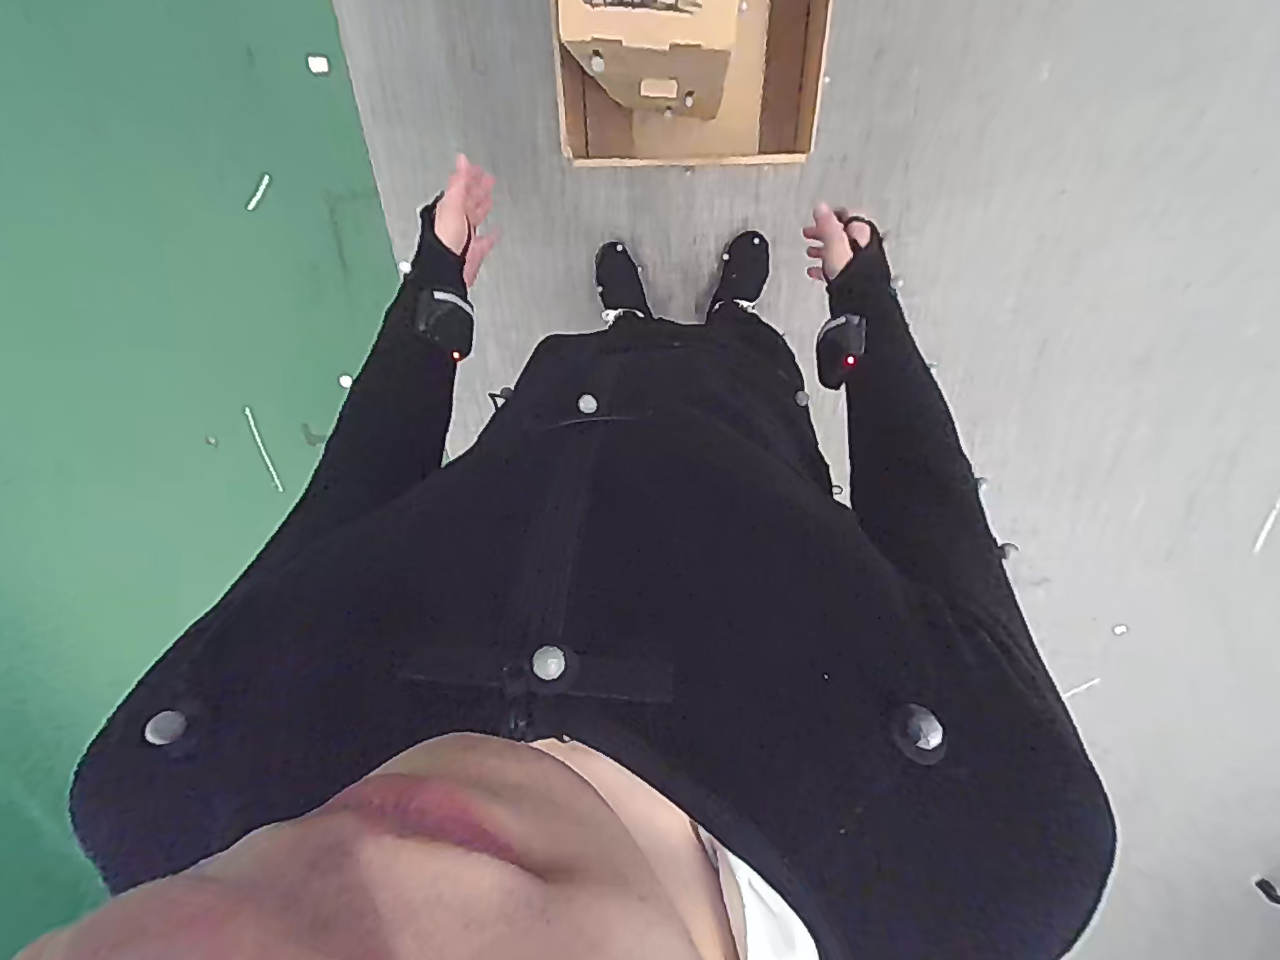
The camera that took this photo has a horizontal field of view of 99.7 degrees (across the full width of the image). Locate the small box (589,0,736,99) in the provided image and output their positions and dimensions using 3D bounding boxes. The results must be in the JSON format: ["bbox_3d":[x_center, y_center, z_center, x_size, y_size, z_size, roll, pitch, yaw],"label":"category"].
[{"bbox_3d":[0.035,-0.595,0.675,0.168,0.176,0.179,7,117,2],"label":"small box"}]
